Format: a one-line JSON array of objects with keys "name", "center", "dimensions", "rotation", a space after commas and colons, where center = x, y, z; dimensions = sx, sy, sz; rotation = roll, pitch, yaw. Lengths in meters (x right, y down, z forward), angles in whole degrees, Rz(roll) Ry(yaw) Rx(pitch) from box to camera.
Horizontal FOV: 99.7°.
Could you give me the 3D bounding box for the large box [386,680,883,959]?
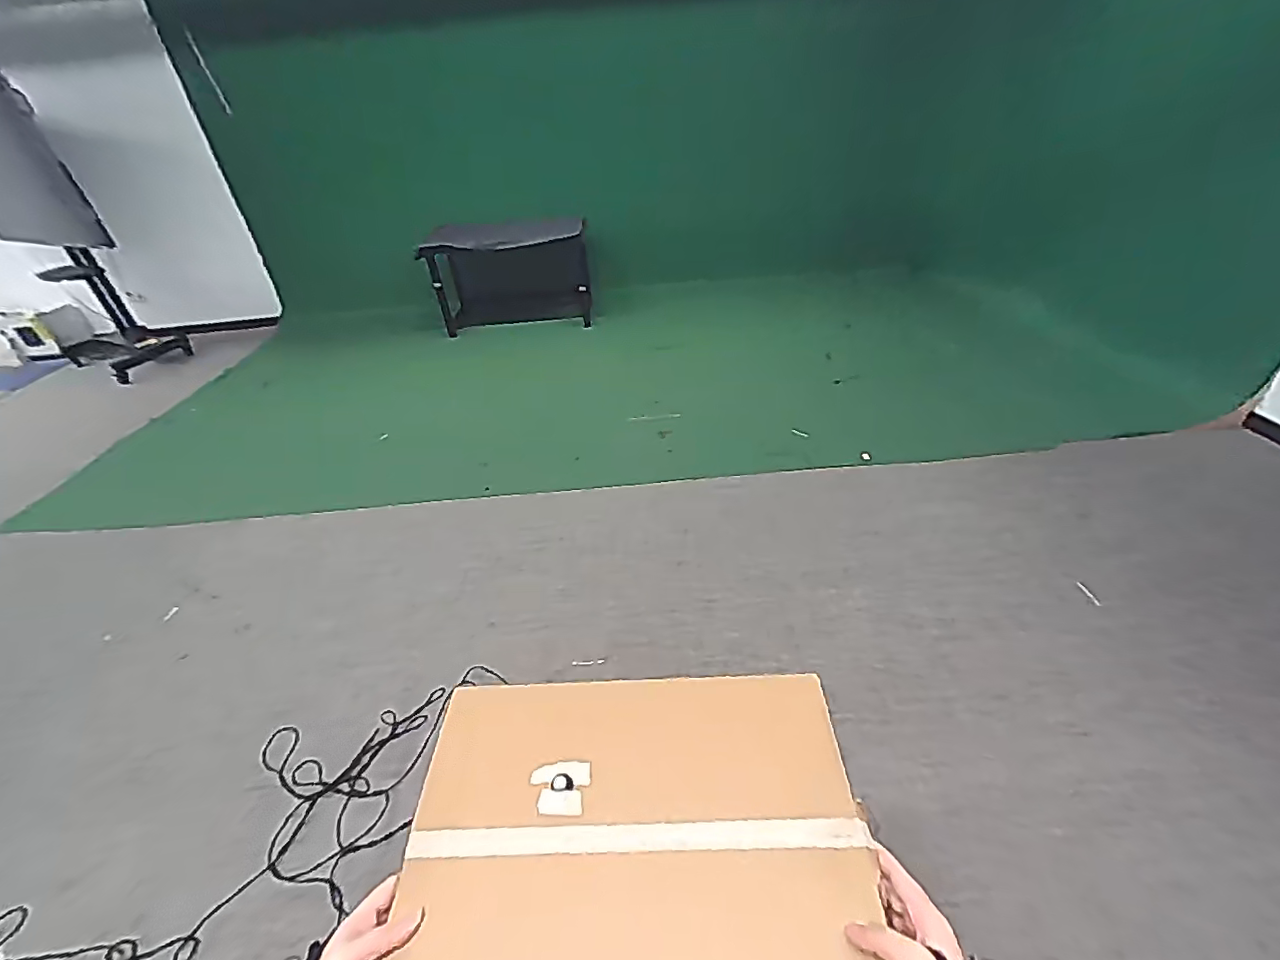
[{"name": "large box", "center": [0.006, 0.447, 0.580], "dimensions": [0.408, 0.320, 0.320], "rotation": [-5, 38, 4]}]
